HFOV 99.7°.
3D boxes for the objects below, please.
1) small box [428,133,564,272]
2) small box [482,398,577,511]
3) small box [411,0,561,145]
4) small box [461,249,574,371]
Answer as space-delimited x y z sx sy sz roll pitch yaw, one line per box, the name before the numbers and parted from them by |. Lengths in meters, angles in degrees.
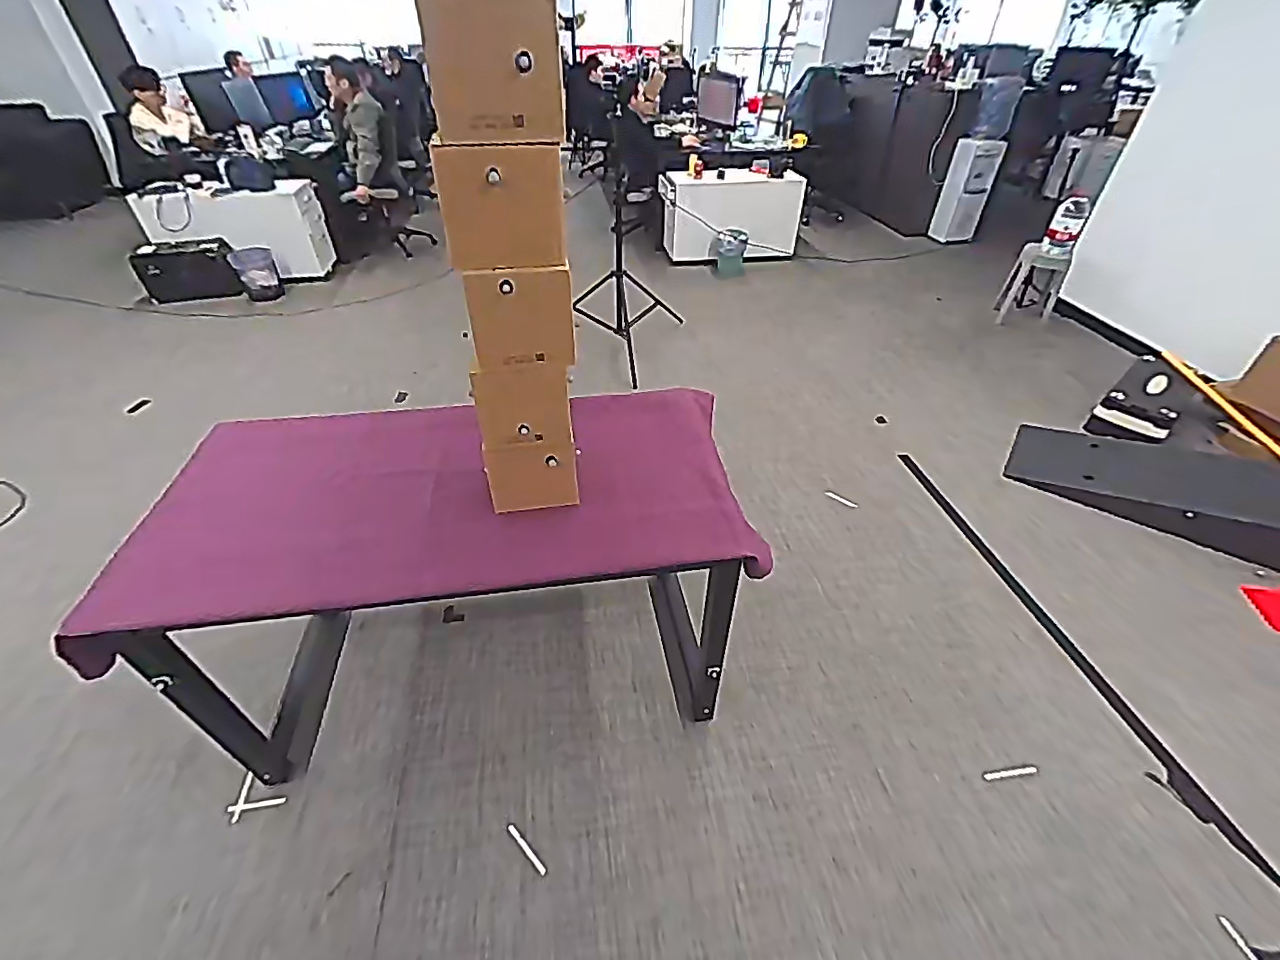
small box | -0.212 -0.436 0.840 0.179 0.176 0.168 -7 41 -9
small box | -0.228 -0.053 1.144 0.179 0.176 0.168 -7 40 -8
small box | -0.202 -0.563 0.739 0.168 0.176 0.179 -7 40 -11
small box | -0.206 -0.305 0.936 0.168 0.176 0.179 -6 40 -8
